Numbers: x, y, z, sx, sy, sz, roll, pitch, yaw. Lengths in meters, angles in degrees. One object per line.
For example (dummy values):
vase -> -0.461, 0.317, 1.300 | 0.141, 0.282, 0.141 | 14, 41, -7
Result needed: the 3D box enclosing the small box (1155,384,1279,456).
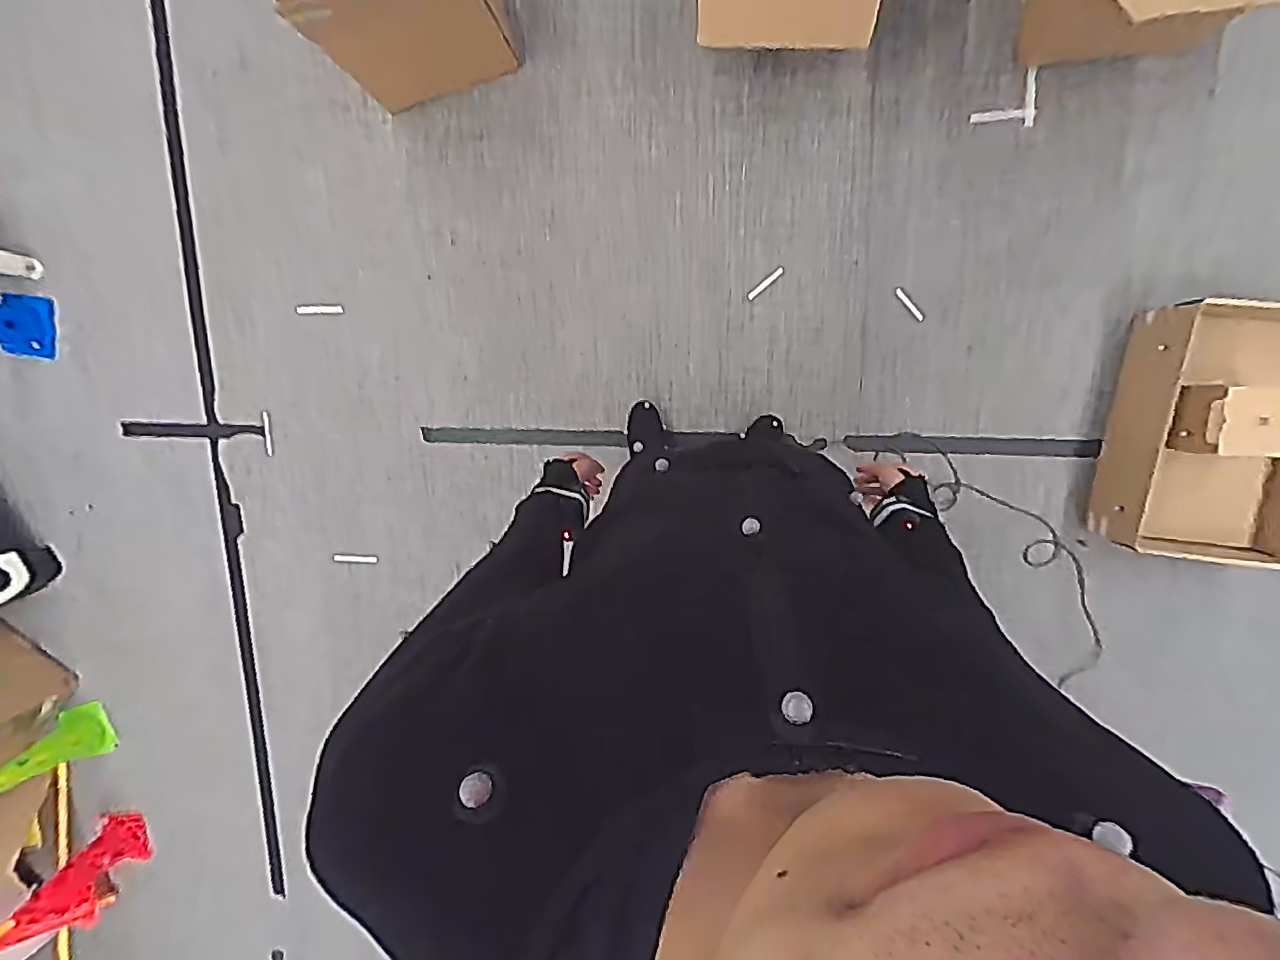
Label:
small box -> 1.439, -0.152, 1.334 | 0.179, 0.176, 0.168 | 1, 101, 6
